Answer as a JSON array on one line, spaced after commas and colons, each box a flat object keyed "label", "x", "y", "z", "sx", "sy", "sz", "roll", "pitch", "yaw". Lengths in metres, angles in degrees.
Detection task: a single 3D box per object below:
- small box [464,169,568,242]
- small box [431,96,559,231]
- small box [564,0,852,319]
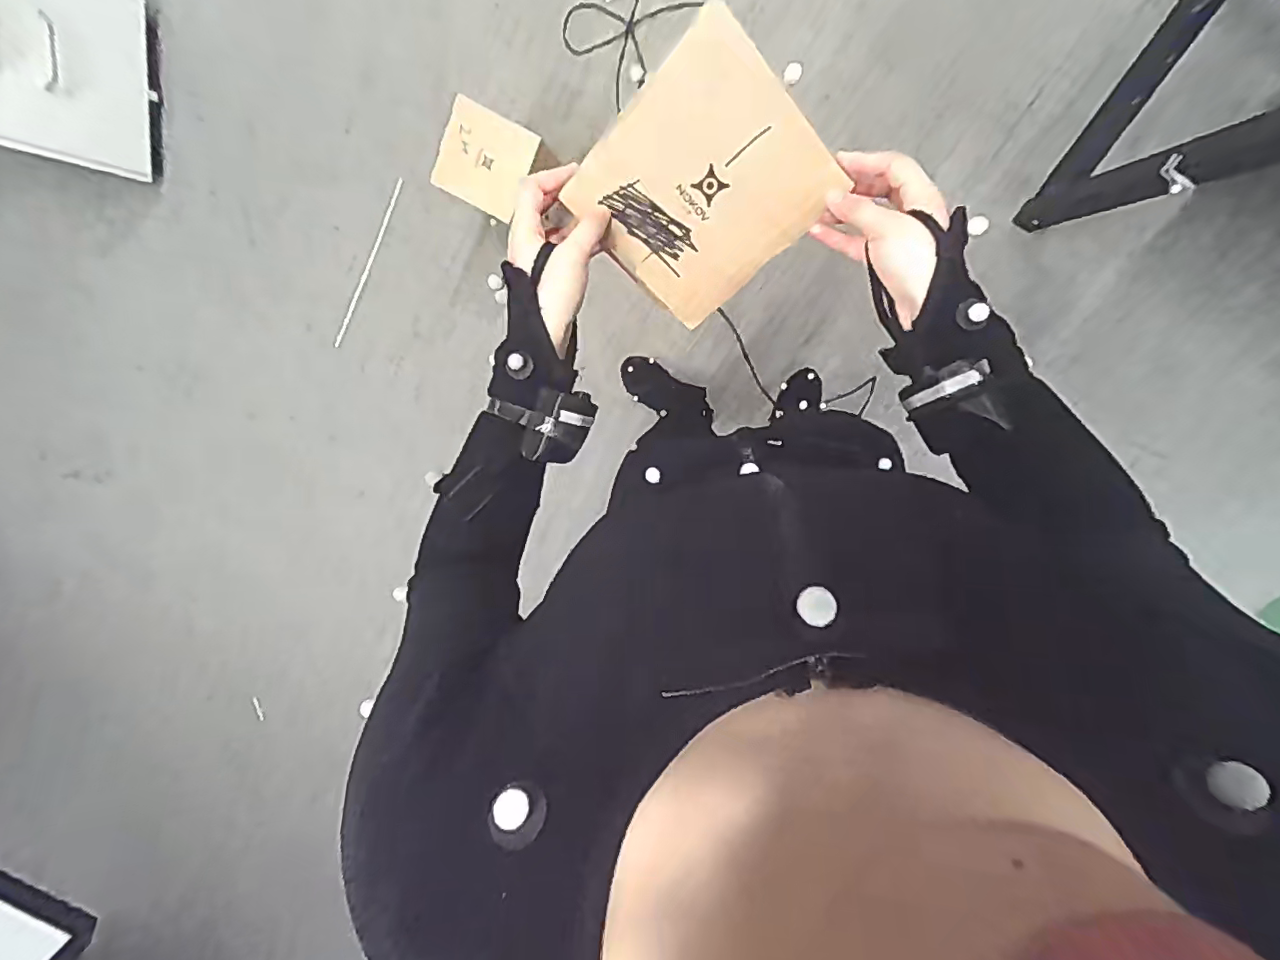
[{"label": "small box", "x": -0.279, "y": -0.678, "z": 1.264, "sx": 0.179, "sy": 0.176, "sz": 0.168, "roll": 28, "pitch": 108, "yaw": -3}, {"label": "small box", "x": -0.286, "y": -0.631, "z": 1.105, "sx": 0.179, "sy": 0.176, "sz": 0.168, "roll": 27, "pitch": 107, "yaw": -2}, {"label": "small box", "x": 0.060, "y": -0.291, "z": 0.493, "sx": 0.168, "sy": 0.176, "sz": 0.179, "roll": 37, "pitch": 127, "yaw": -25}]
